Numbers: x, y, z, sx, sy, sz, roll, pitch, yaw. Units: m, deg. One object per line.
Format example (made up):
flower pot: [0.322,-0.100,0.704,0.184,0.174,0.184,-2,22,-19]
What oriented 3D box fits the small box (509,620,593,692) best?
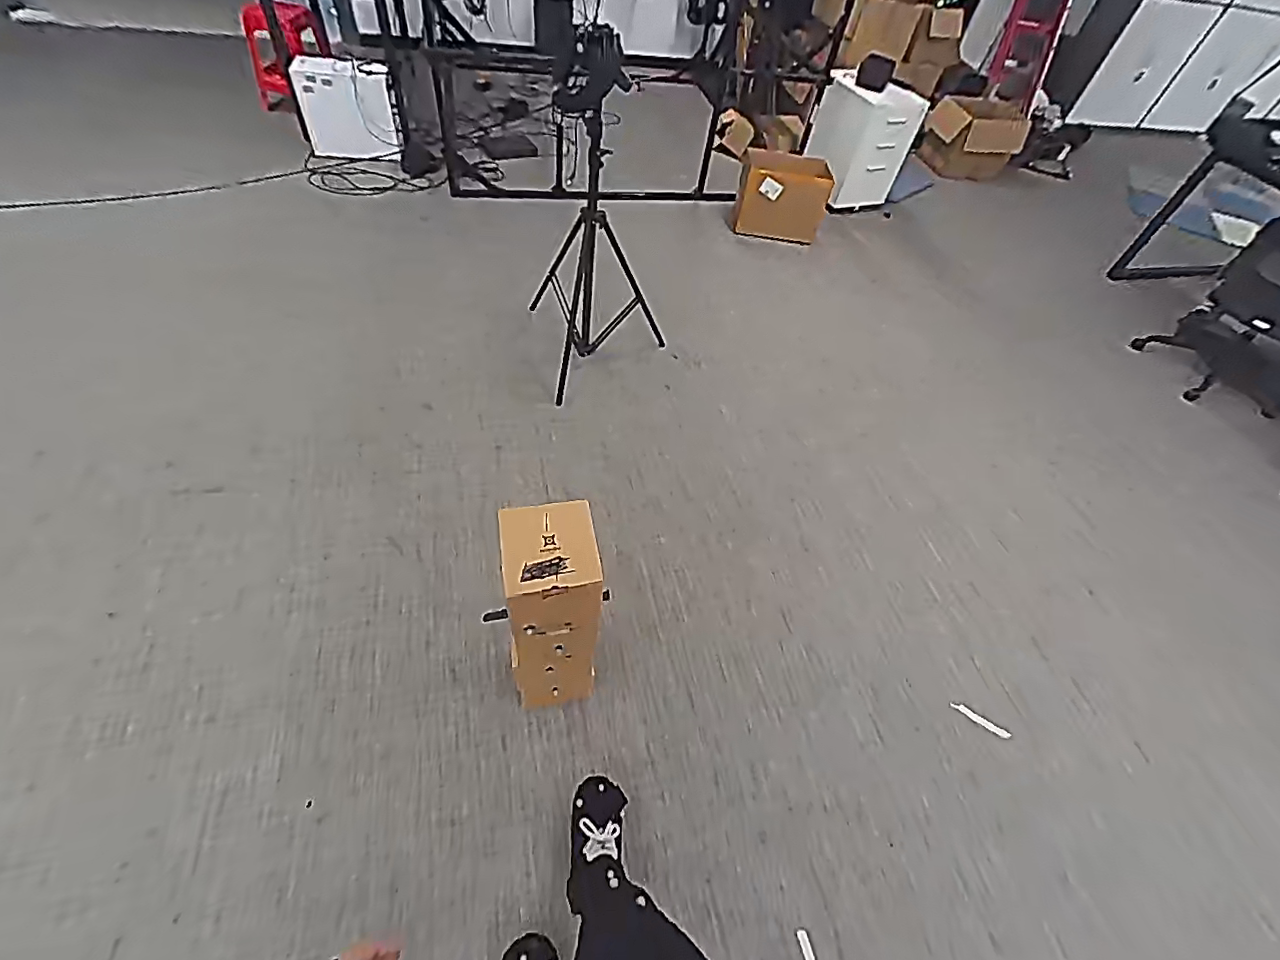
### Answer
small box: [-0.205,0.375,1.247,0.179,0.176,0.168,-5,54,-11]

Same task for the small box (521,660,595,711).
small box: [-0.218,0.472,1.380,0.179,0.176,0.168,-7,54,-13]

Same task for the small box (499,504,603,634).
small box: [-0.163,0.170,0.995,0.168,0.176,0.179,-6,52,-12]

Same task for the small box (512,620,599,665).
small box: [-0.179,0.272,1.123,0.168,0.176,0.179,-5,54,-12]
